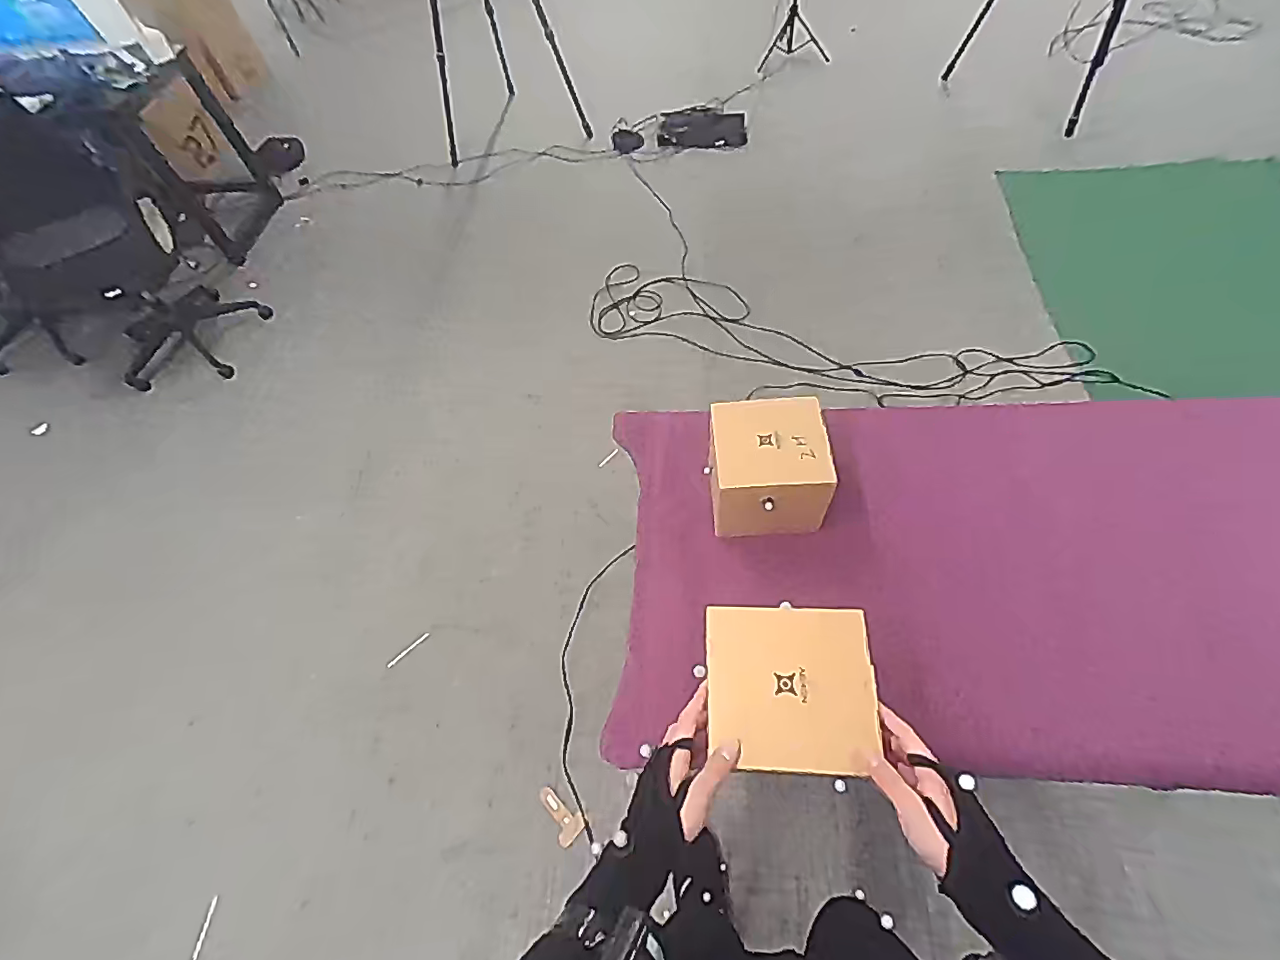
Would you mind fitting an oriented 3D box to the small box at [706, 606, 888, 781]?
[{"bbox_3d":[0.166,0.255,0.637,0.179,0.176,0.168,0,60,6],"label":"small box"}]

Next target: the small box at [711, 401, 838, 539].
[{"bbox_3d":[0.211,-0.011,0.898,0.179,0.176,0.168,-3,58,5],"label":"small box"}]
